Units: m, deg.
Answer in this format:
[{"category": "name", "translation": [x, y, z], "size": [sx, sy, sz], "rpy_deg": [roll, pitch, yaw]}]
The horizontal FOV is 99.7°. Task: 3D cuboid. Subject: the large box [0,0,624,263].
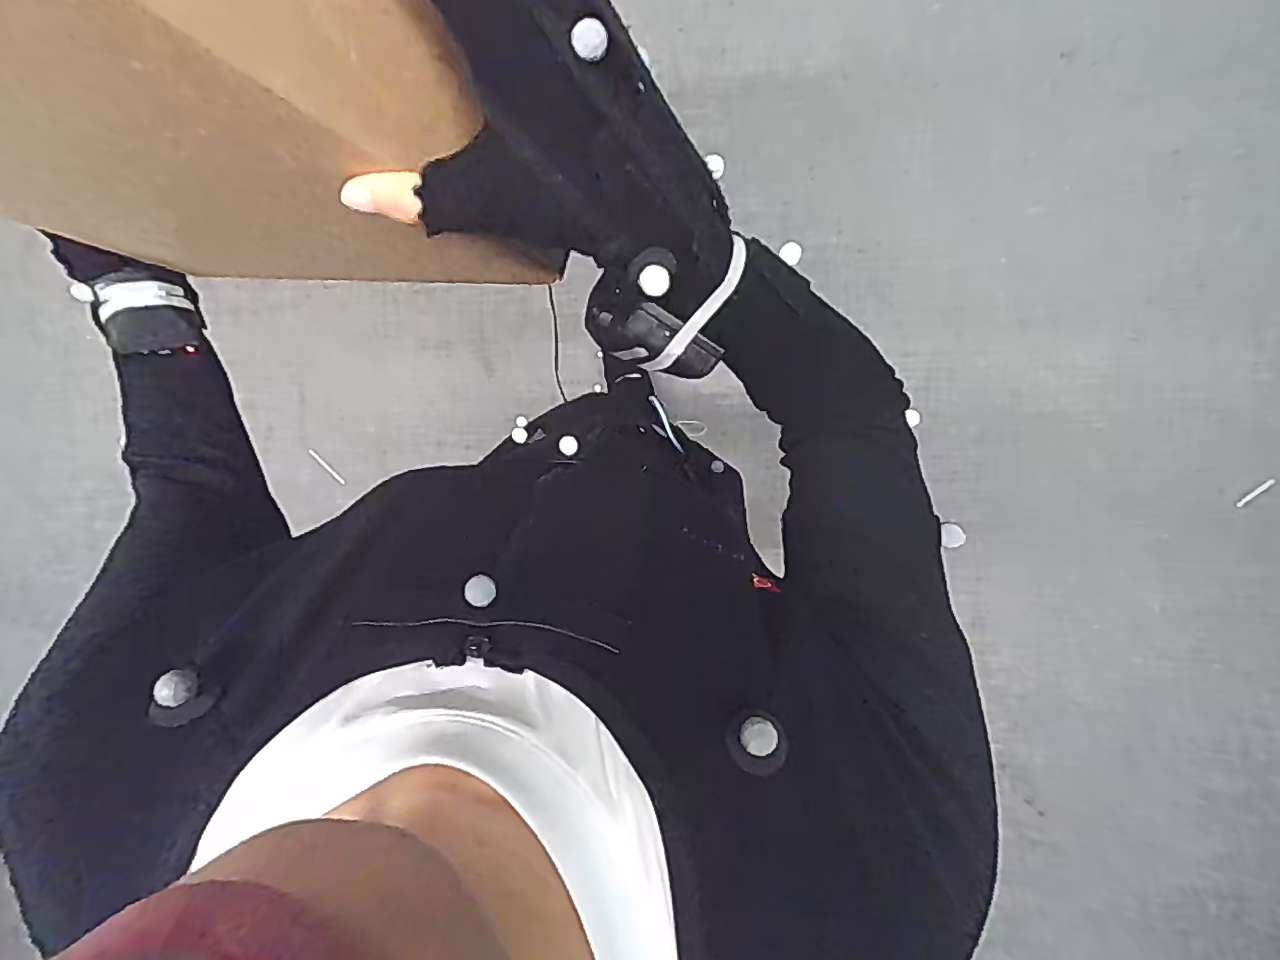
[{"category": "large box", "translation": [-0.247, -0.320, 0.265], "size": [0.408, 0.320, 0.320], "rpy_deg": [11, 92, 24]}]
